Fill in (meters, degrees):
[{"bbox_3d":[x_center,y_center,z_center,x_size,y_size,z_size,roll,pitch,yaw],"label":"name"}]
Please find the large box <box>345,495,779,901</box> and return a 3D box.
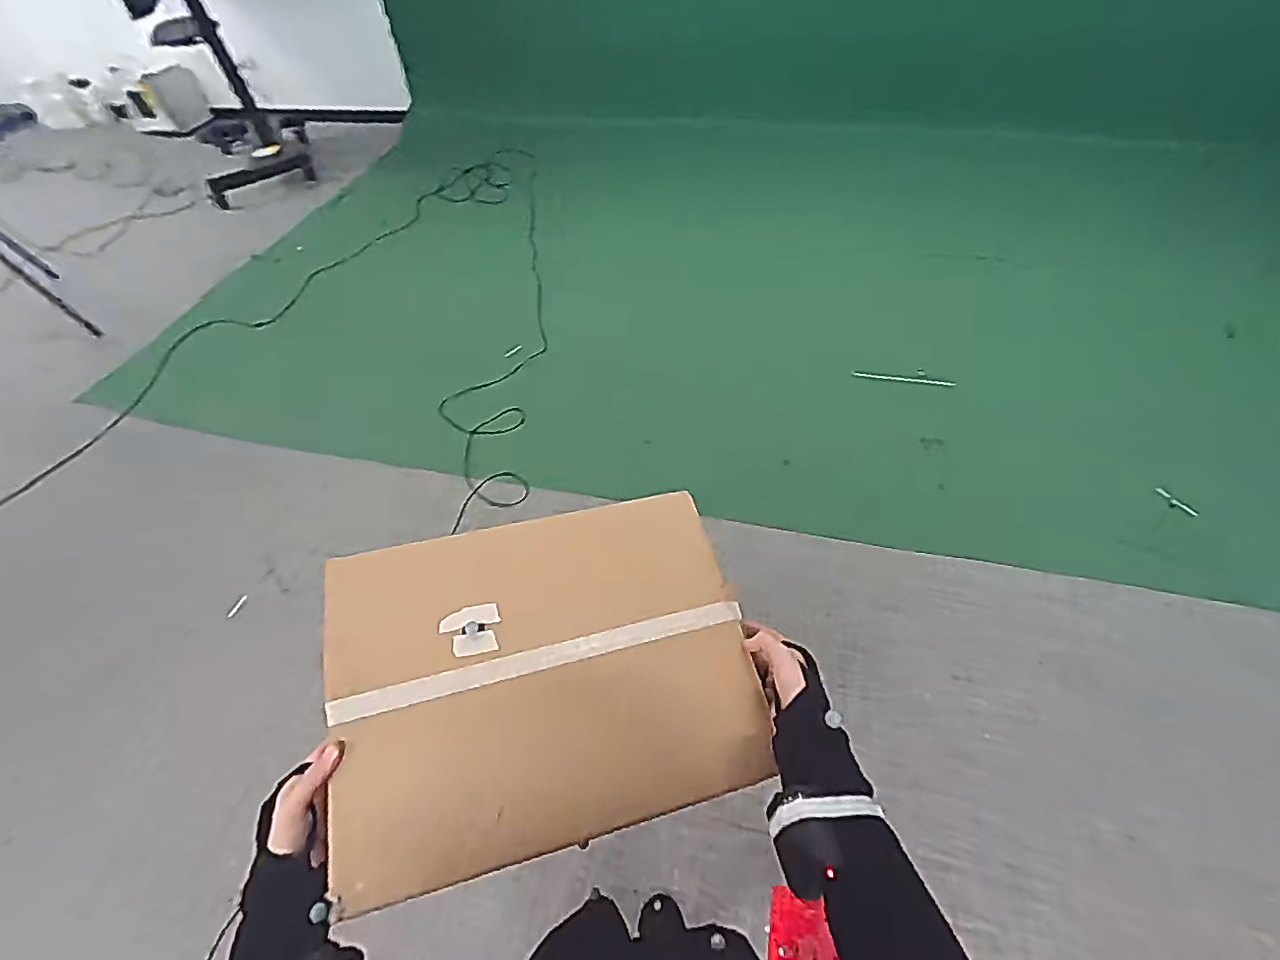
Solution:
[{"bbox_3d":[-0.101,0.254,0.686,0.408,0.320,0.320,-10,62,-12],"label":"large box"}]
